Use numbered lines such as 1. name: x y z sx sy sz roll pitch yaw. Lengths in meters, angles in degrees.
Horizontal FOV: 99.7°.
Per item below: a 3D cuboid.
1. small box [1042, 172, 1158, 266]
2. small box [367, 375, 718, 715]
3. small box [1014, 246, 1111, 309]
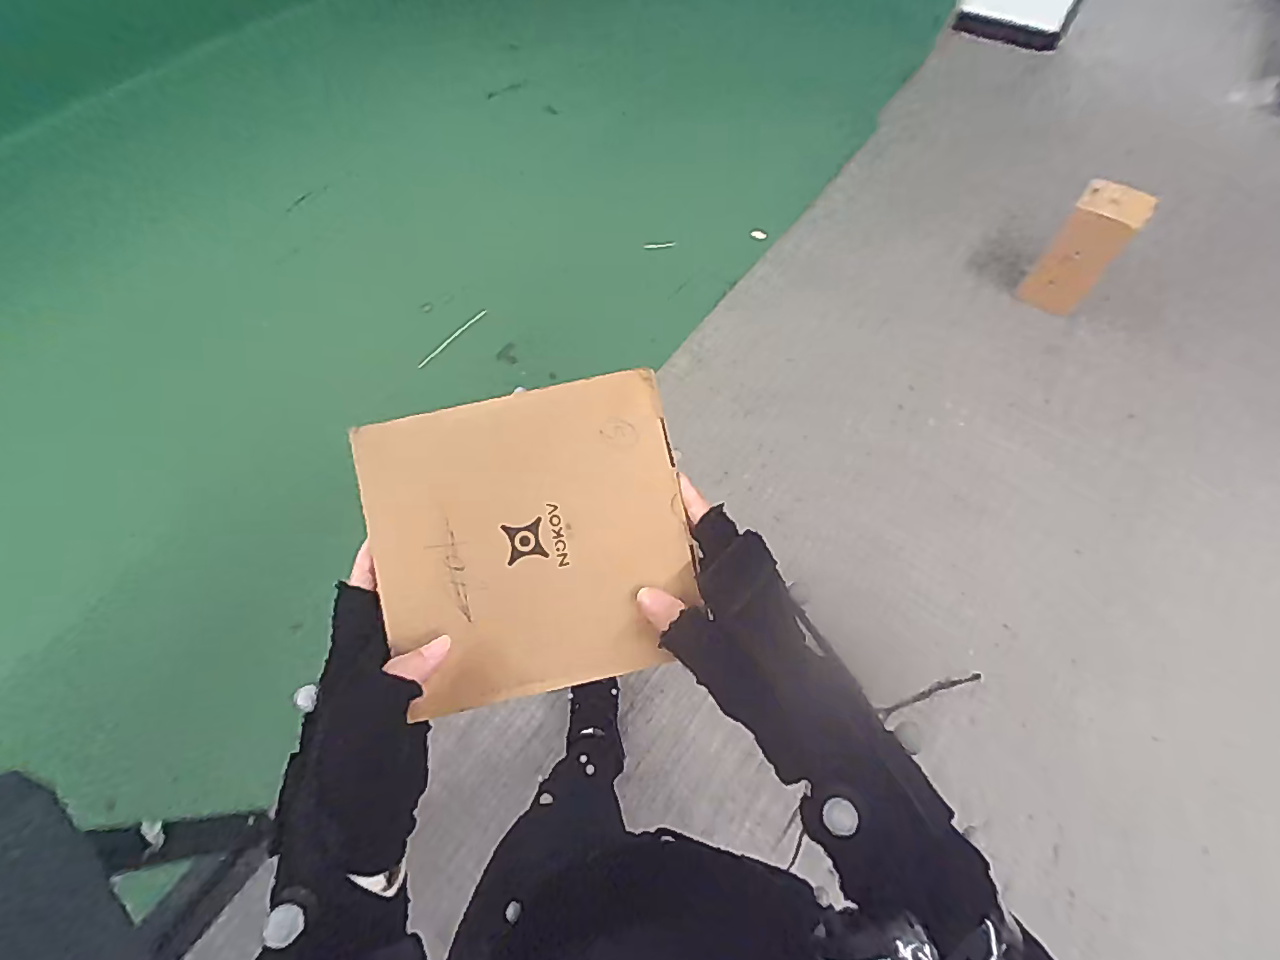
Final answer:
1. small box: 1.367 -0.772 1.616 0.179 0.176 0.168 36 70 19
2. small box: -0.057 0.040 0.387 0.179 0.176 0.168 -13 85 0
3. small box: 1.374 -0.689 1.758 0.179 0.176 0.168 33 69 17
